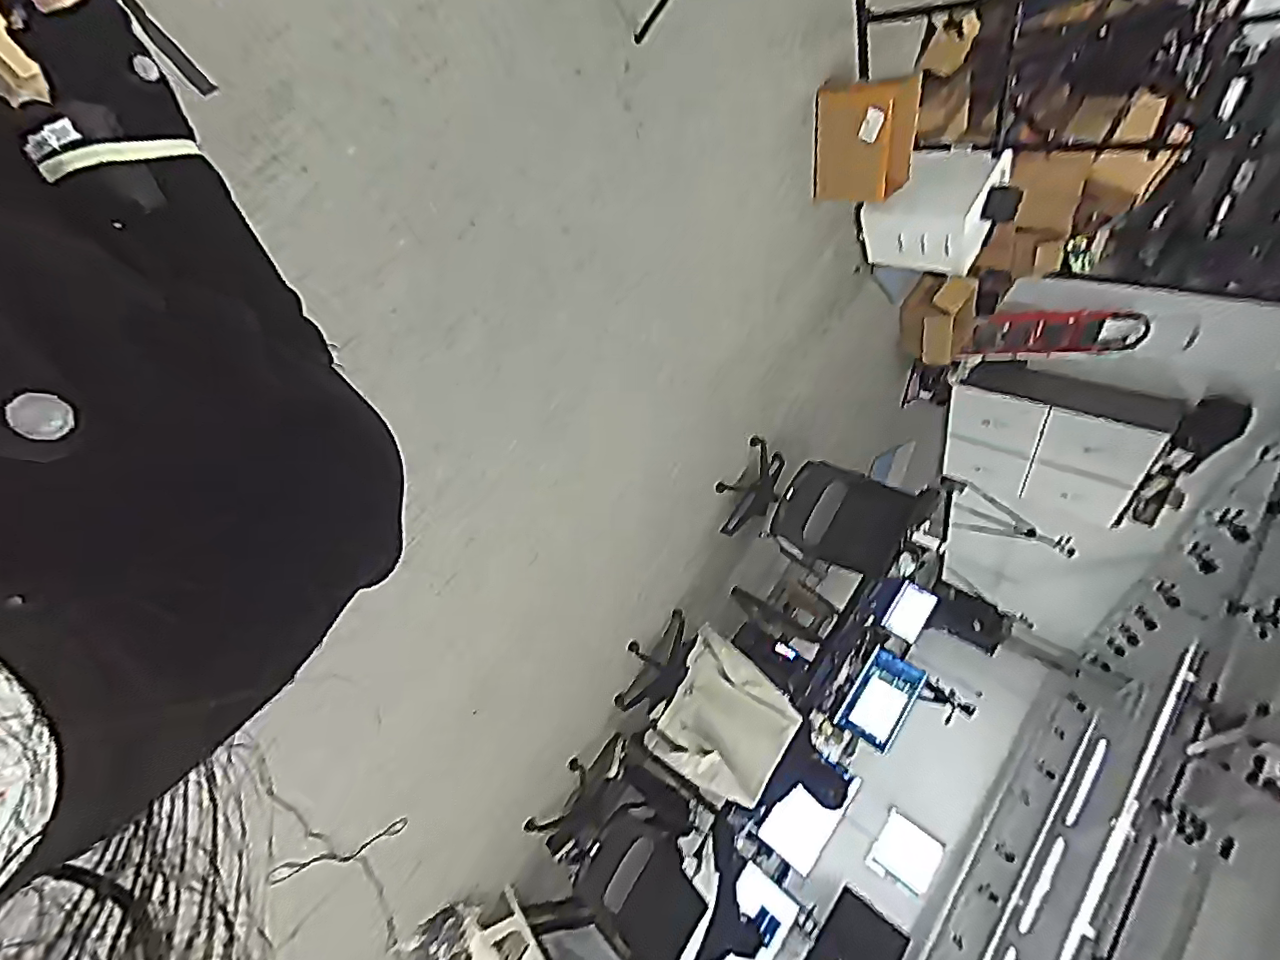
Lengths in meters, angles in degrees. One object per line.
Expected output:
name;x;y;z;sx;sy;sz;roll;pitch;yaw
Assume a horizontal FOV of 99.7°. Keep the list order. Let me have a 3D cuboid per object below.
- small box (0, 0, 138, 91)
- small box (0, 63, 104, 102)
small box;-0.842;-0.656;0.724;0.168;0.176;0.179;-46;139;-21
small box;-0.964;-0.708;0.822;0.168;0.176;0.179;-49;140;-19
